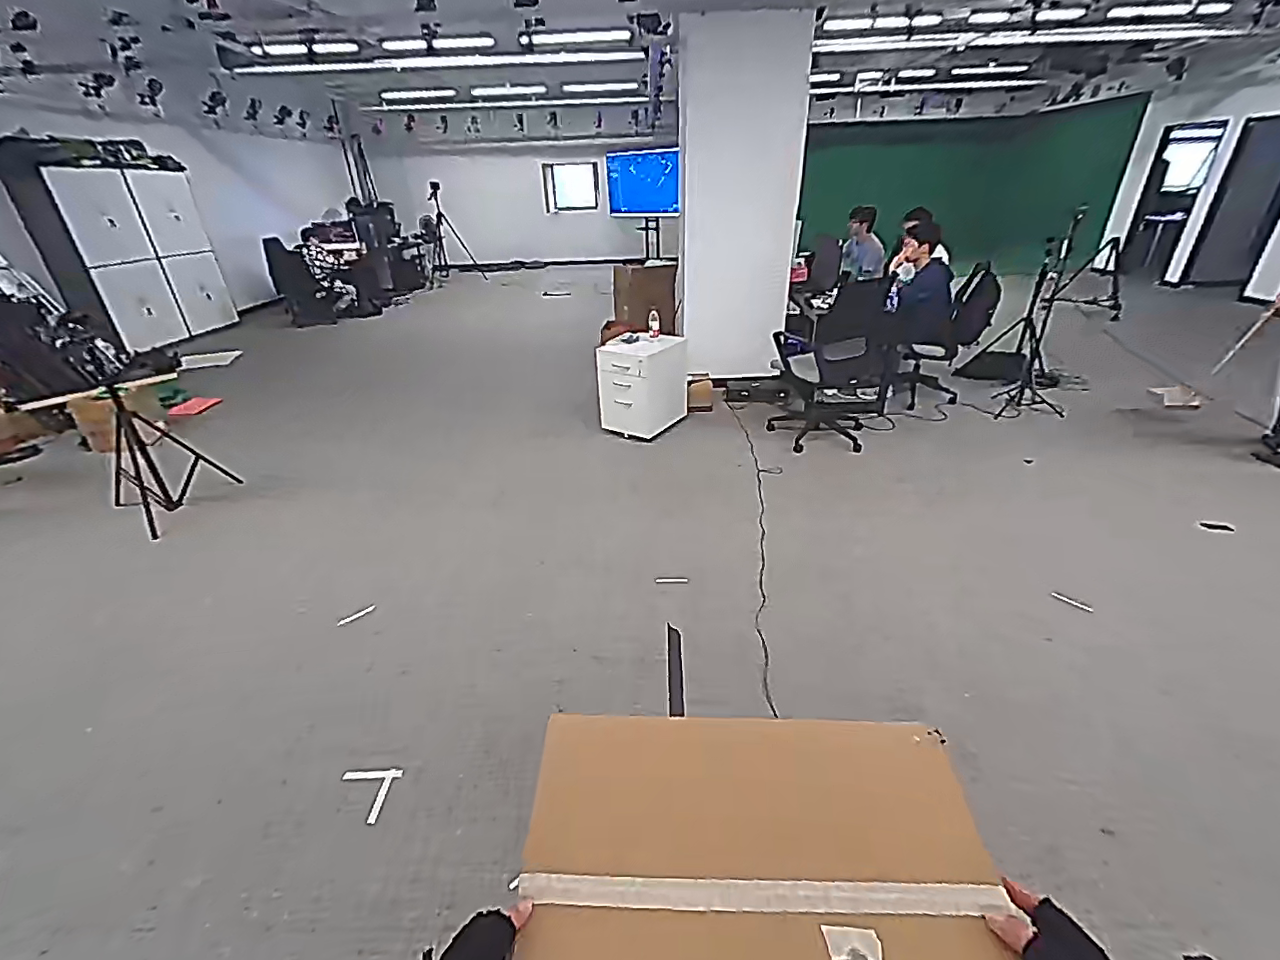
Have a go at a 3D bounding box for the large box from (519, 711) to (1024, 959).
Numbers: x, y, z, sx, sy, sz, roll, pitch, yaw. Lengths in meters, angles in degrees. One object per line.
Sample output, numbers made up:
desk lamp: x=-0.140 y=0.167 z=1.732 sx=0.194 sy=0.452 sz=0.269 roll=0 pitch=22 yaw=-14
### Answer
large box: x=0.104 y=0.465 z=0.555 sx=0.408 sy=0.320 sz=0.320 roll=0 pitch=37 yaw=2
